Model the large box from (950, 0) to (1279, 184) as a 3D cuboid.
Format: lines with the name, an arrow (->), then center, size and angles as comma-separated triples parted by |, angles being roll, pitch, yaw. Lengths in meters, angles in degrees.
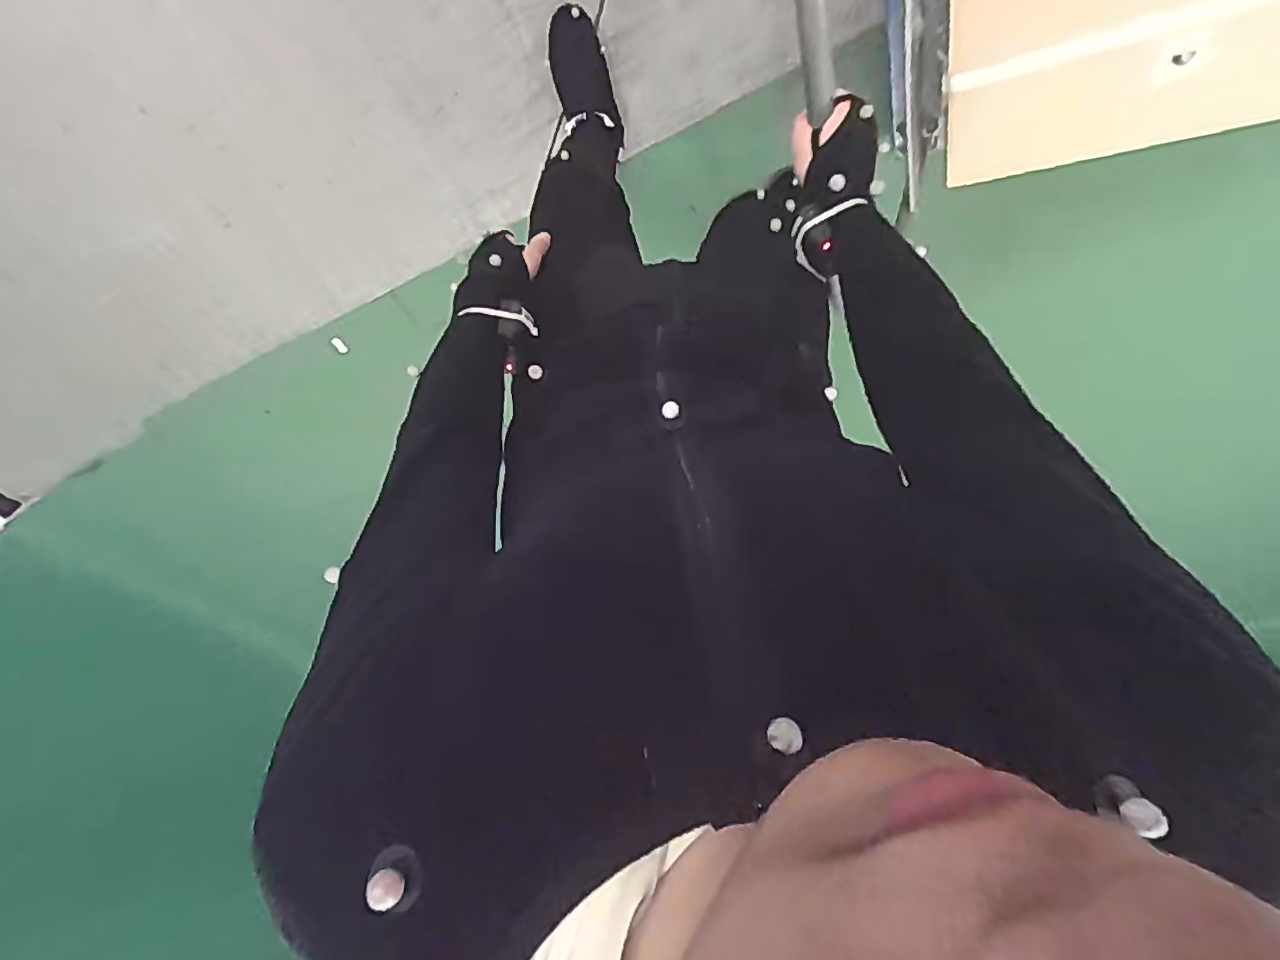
large box -> 0.692, -0.701, 0.794 | 0.408, 0.320, 0.320 | 1, 139, 28
